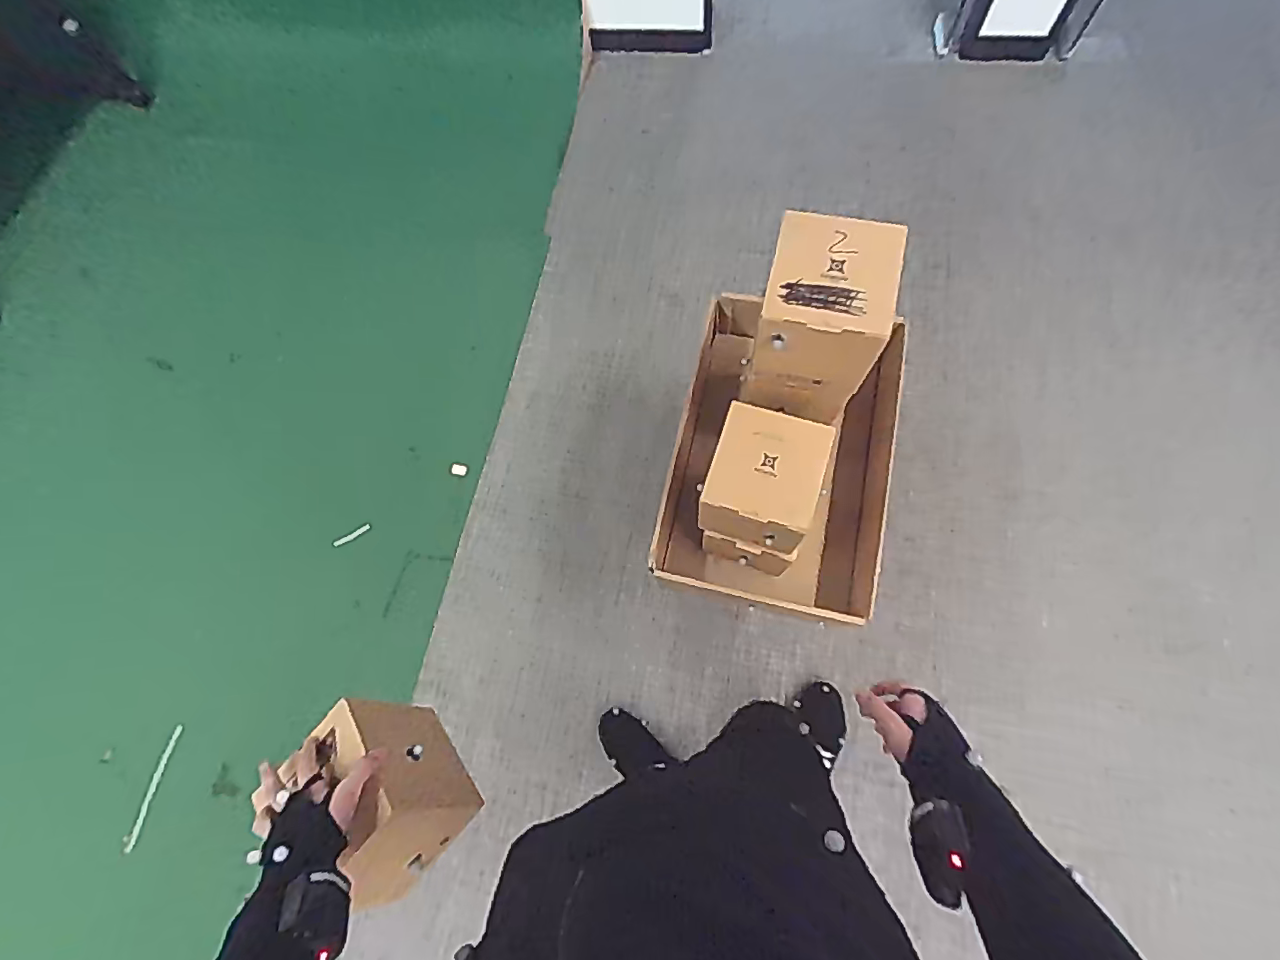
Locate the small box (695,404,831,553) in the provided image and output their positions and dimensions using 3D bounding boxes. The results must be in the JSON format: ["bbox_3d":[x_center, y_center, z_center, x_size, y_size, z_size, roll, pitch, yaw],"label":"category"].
[{"bbox_3d":[0.195,0.006,0.893,0.168,0.176,0.179,18,73,10],"label":"small box"}]

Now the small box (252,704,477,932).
[{"bbox_3d":[-0.352,0.428,0.707,0.168,0.176,0.179,-49,55,-5],"label":"small box"}]

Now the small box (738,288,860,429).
[{"bbox_3d":[0.273,-0.206,0.959,0.168,0.176,0.179,11,76,8],"label":"small box"}]
